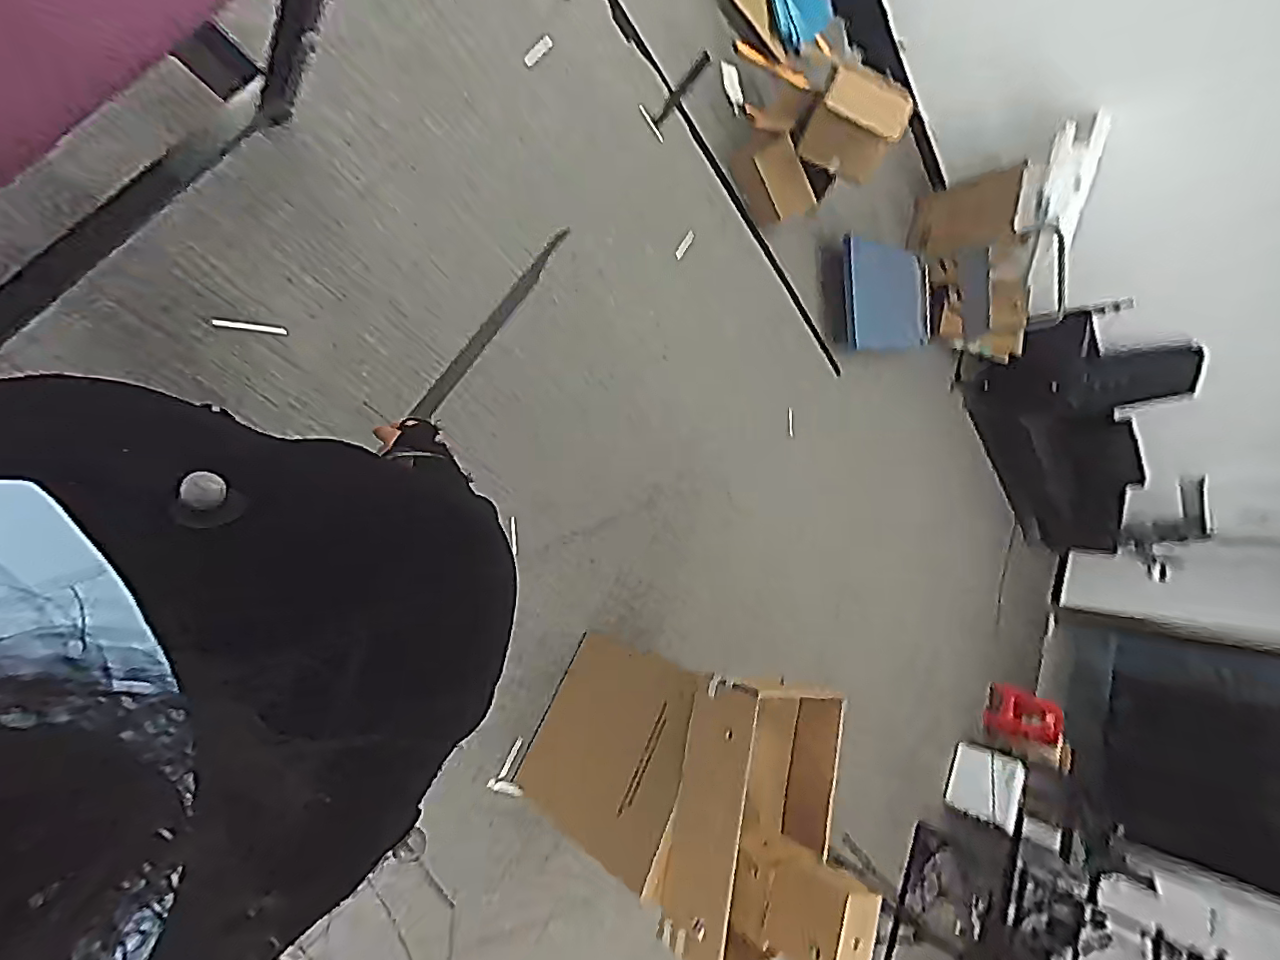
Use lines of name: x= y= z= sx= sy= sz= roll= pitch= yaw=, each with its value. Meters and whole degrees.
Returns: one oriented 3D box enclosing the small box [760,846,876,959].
small box: x=0.390 y=0.952 z=1.195 sx=0.168 sy=0.176 sz=0.179 roll=34 pitch=67 yaw=-35
